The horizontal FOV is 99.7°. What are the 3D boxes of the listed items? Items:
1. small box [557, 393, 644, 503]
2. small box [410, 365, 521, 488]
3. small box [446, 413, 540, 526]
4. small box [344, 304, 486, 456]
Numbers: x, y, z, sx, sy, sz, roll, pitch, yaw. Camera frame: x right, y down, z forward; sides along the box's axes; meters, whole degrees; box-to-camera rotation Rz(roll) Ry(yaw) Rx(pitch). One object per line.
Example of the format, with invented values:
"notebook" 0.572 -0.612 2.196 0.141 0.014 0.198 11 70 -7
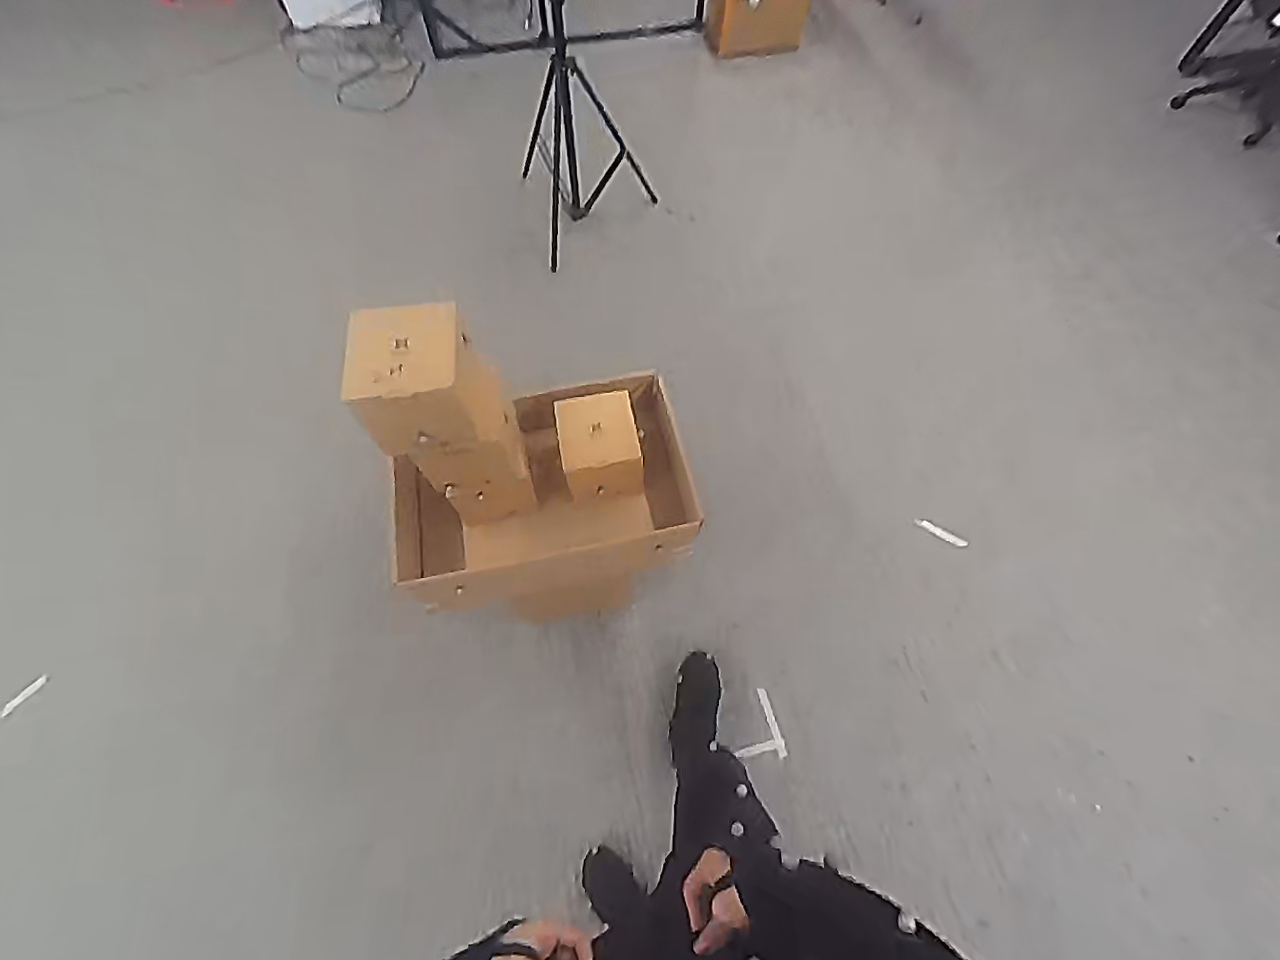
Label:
"small box" -0.089 -0.068 1.216 0.168 0.176 0.179 -10 65 -5
"small box" -0.330 -0.094 1.044 0.168 0.176 0.179 -7 64 -5
"small box" -0.326 -0.021 1.190 0.168 0.176 0.179 -14 64 -6
"small box" -0.358 -0.161 0.893 0.168 0.176 0.179 -7 65 -4
